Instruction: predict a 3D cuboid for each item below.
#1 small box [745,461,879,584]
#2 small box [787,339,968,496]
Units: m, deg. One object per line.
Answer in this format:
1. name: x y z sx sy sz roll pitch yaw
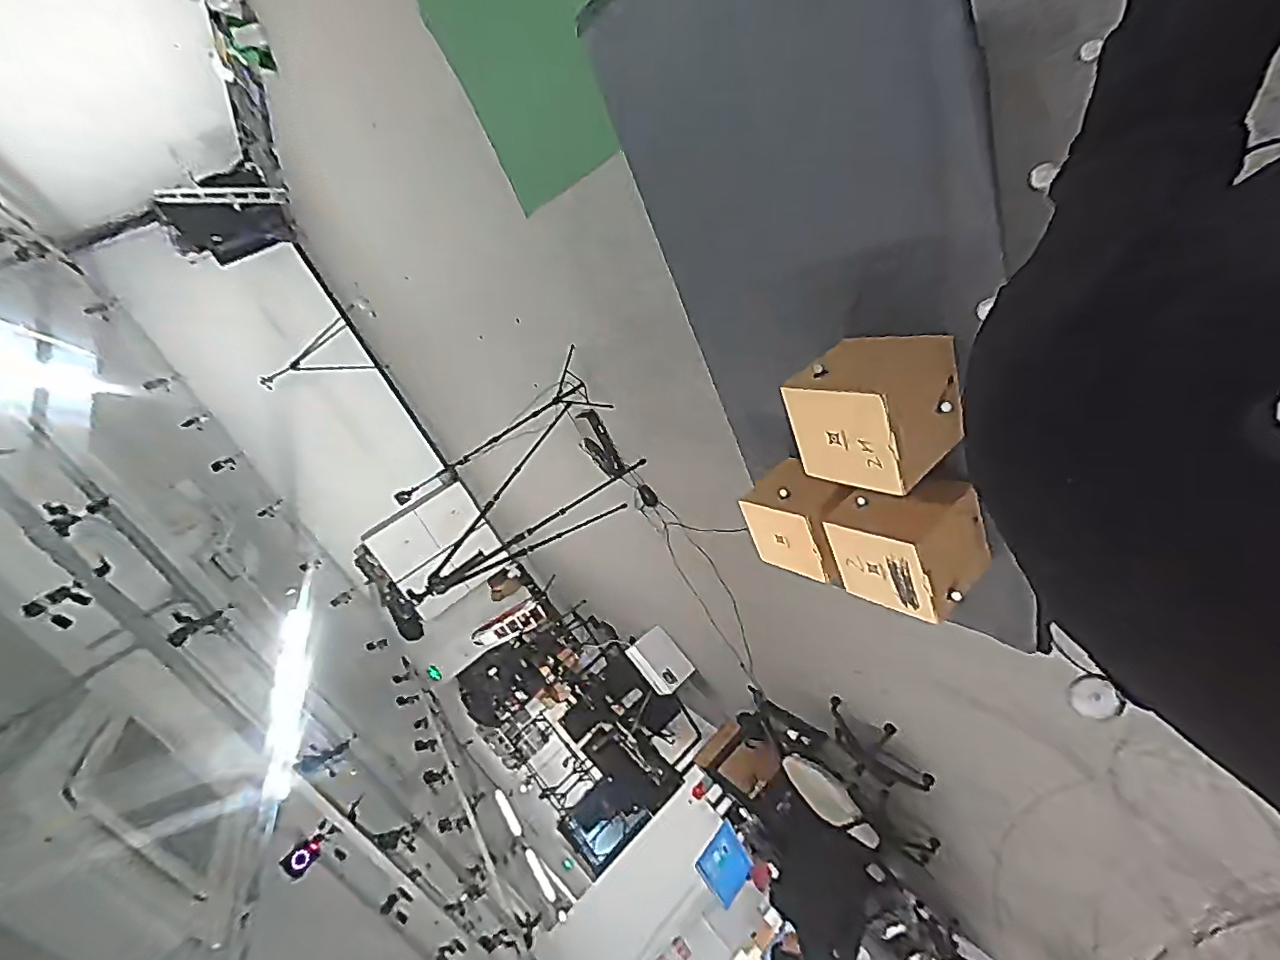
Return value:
1. small box: 0.351 0.076 1.102 0.179 0.176 0.168 14 136 55
2. small box: 0.361 -0.103 0.822 0.179 0.176 0.168 18 139 55
